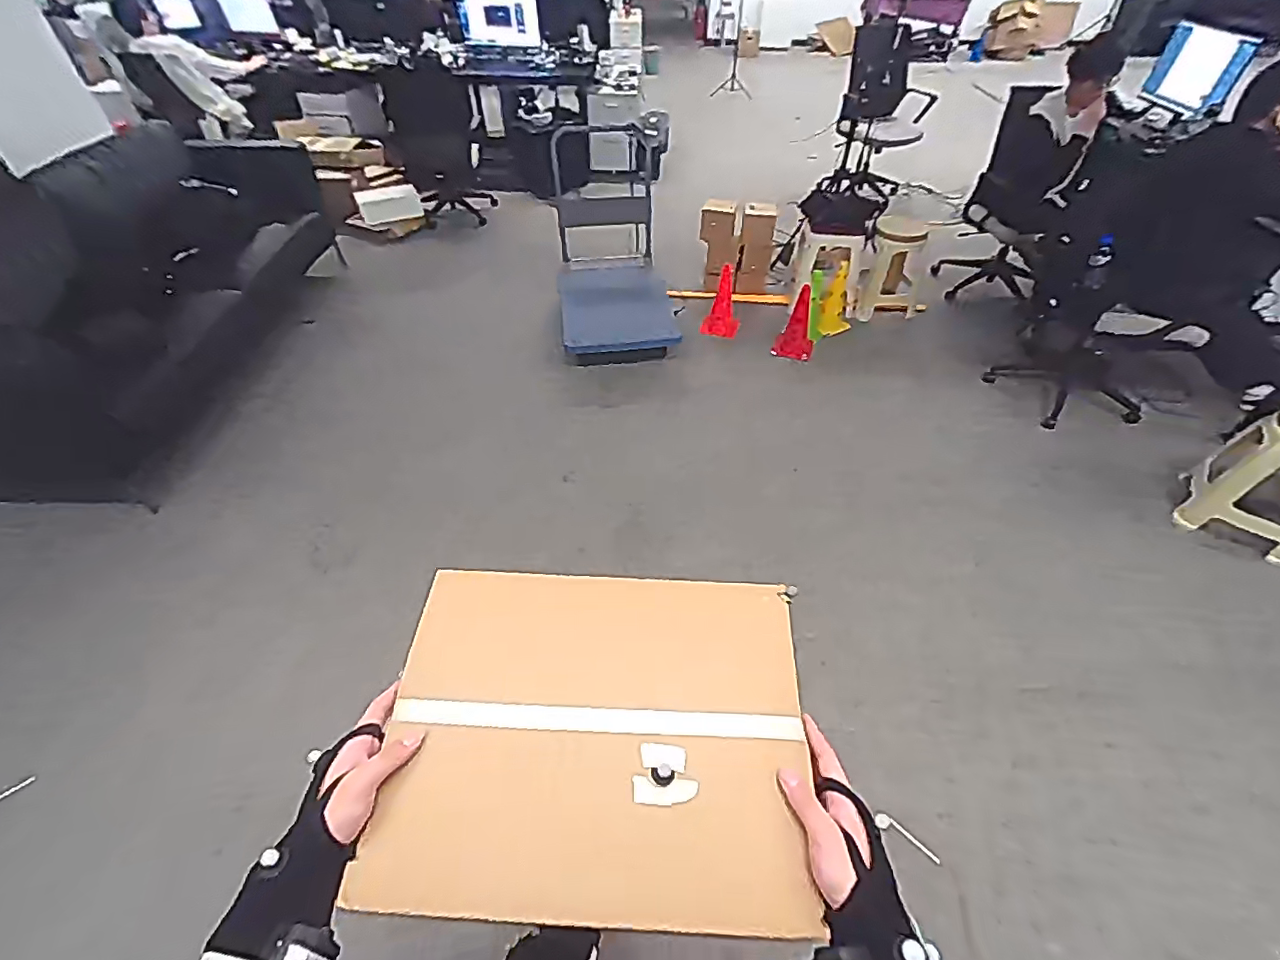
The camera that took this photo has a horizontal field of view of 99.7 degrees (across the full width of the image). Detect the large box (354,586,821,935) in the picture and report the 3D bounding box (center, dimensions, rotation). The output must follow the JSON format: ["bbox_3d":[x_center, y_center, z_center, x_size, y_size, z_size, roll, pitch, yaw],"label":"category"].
[{"bbox_3d":[-0.044,0.344,0.660,0.408,0.320,0.320,2,52,1],"label":"large box"}]
